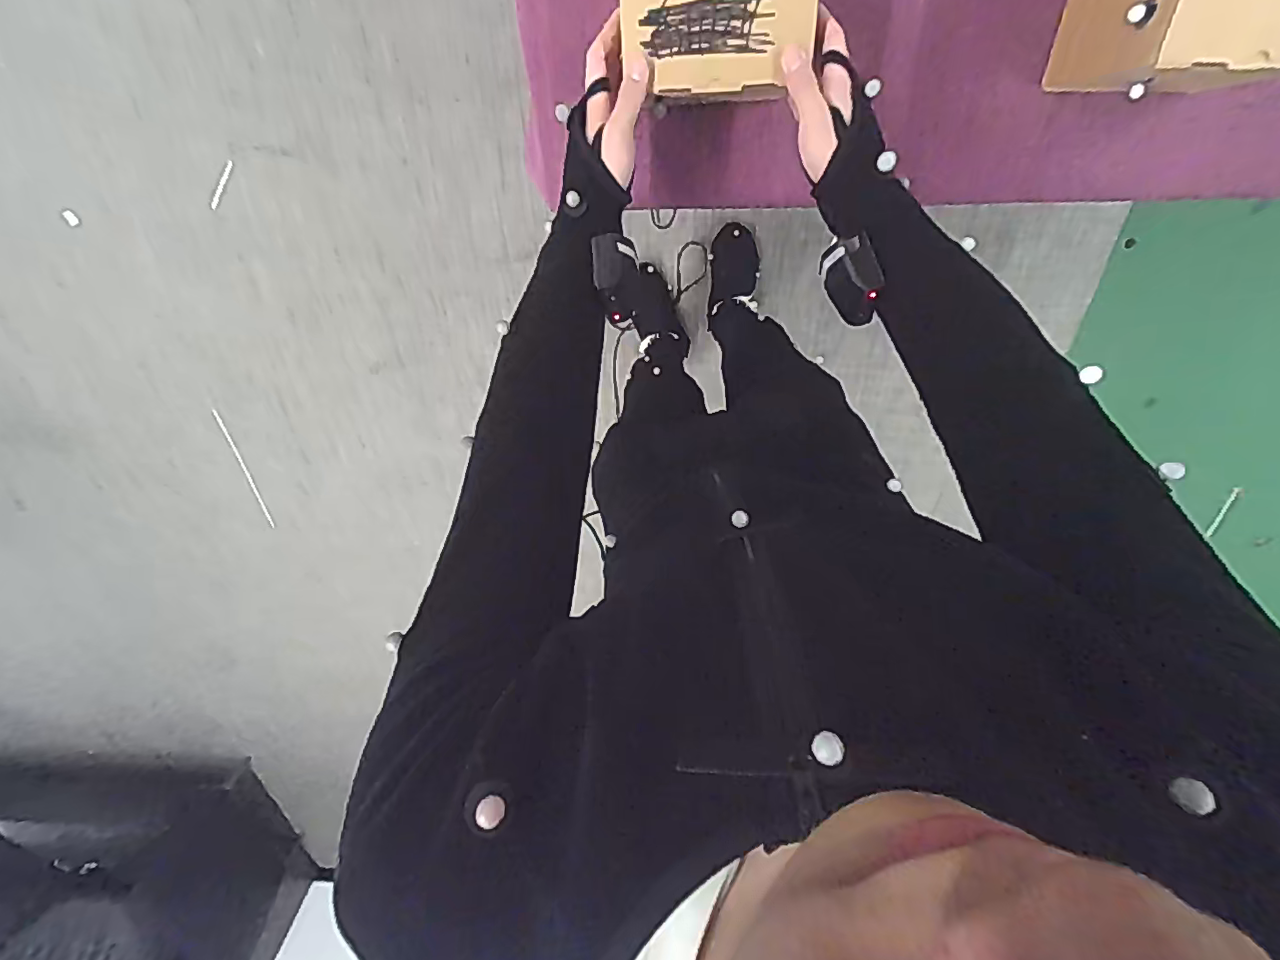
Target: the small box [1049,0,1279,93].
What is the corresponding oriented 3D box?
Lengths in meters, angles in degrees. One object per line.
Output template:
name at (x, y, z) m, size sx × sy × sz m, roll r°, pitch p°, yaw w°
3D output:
small box at (0.511, -0.455, 0.472) m, size 0.168 × 0.176 × 0.179 m, roll 2°, pitch 121°, yaw 3°
